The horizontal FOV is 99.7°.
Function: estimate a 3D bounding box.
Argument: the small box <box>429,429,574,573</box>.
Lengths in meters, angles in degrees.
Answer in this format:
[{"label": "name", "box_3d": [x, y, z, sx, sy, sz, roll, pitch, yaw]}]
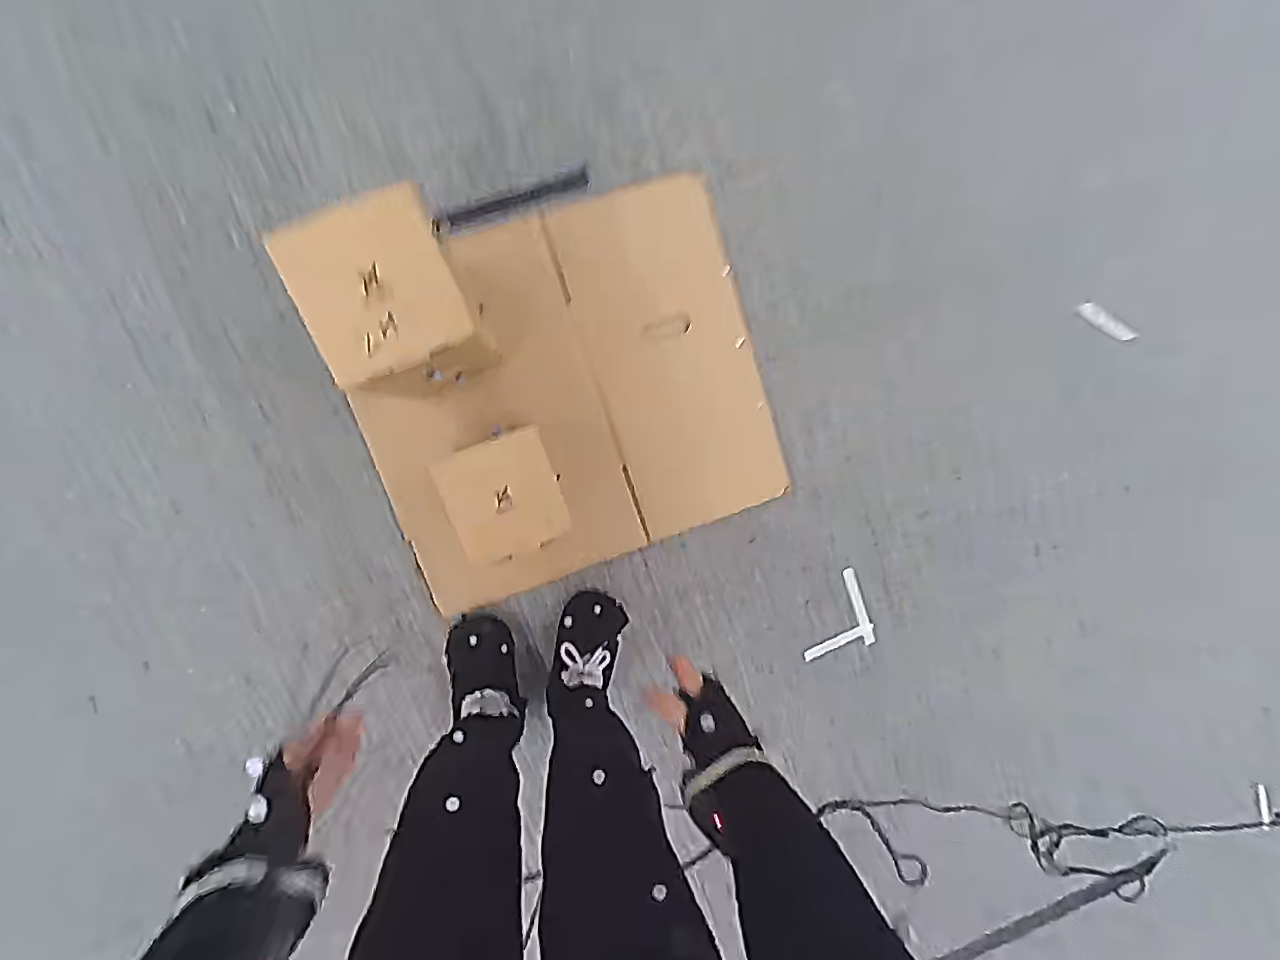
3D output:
[{"label": "small box", "box_3d": [-0.215, 0.024, 0.882, 0.168, 0.176, 0.179, -23, 99, -7]}]

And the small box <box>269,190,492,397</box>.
[{"label": "small box", "box_3d": [-0.302, -0.215, 0.673, 0.168, 0.176, 0.179, -25, 100, -5]}]
